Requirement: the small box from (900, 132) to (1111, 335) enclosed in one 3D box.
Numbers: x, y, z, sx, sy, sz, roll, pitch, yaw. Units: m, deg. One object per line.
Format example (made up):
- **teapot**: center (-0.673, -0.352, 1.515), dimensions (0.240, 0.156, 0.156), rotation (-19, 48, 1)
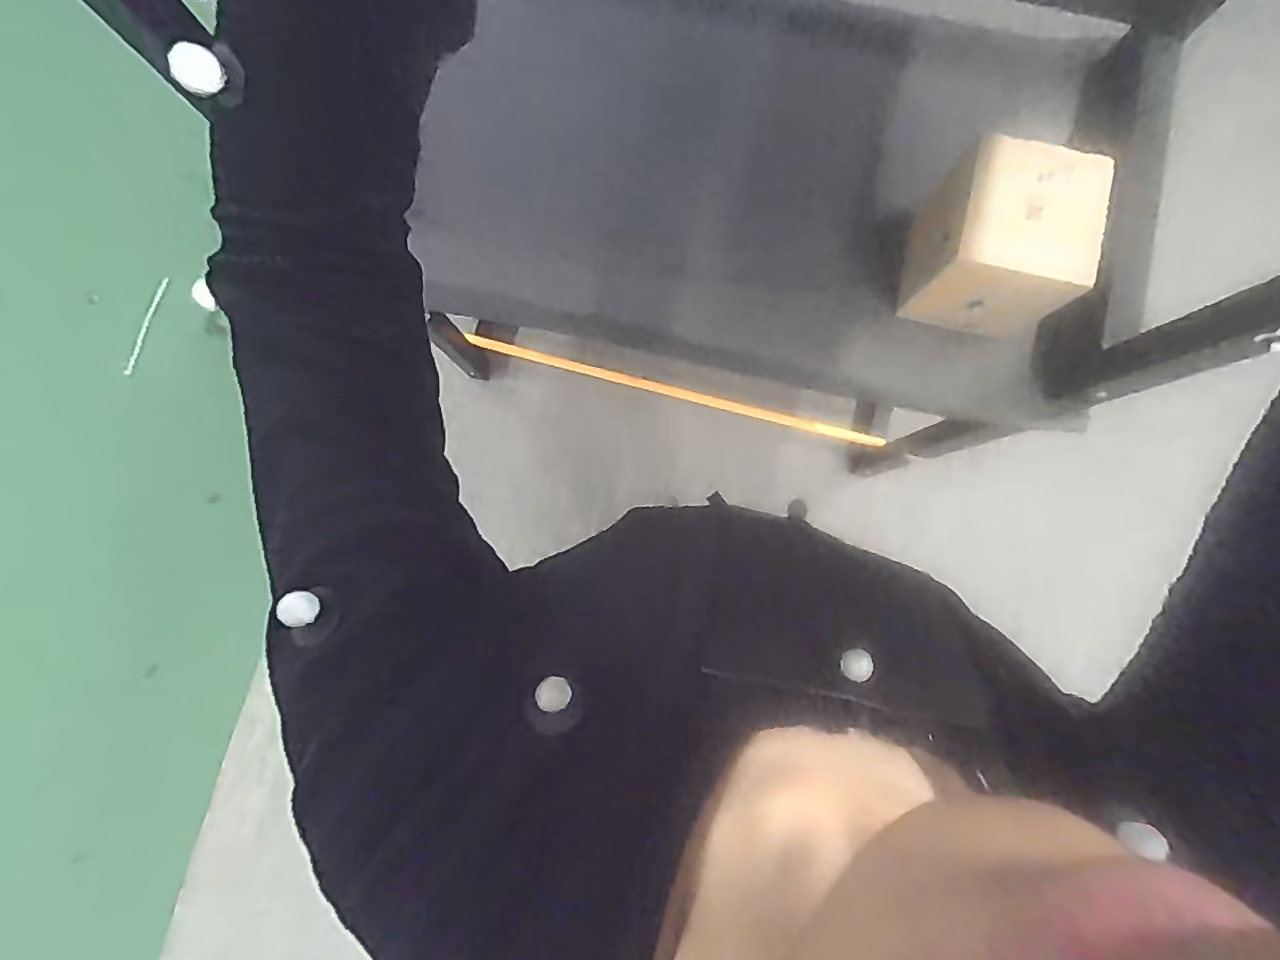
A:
- **small box**: center (0.480, -0.321, 0.737), dimensions (0.168, 0.176, 0.179), rotation (14, 83, 2)
